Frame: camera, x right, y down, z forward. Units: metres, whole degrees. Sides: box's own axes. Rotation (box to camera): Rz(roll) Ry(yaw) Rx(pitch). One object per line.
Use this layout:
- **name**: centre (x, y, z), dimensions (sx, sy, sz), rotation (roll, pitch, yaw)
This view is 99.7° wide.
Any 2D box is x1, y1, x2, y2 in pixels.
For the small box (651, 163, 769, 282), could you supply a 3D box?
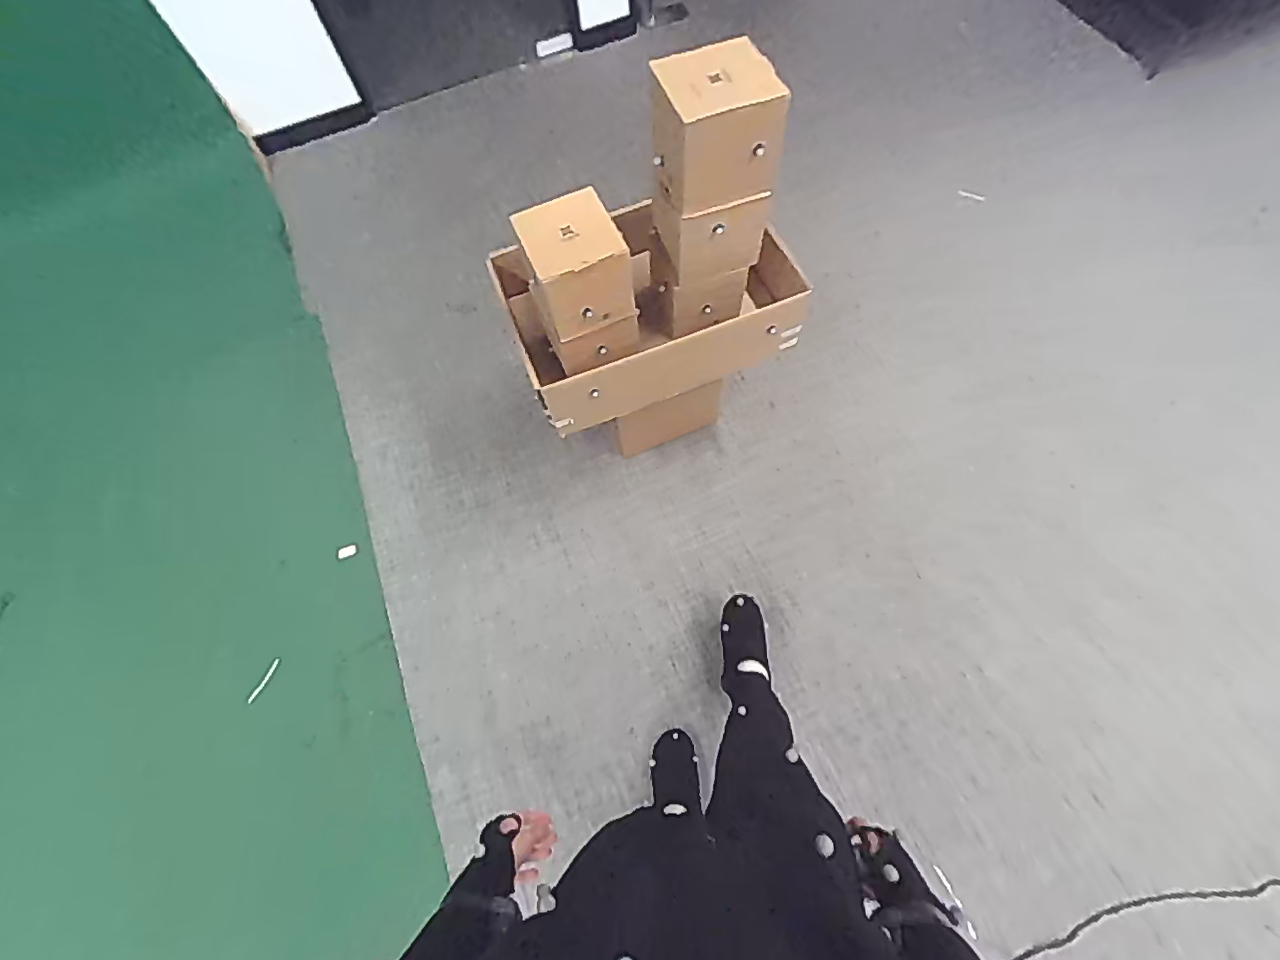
- **small box**: centre (0.132, -0.522, 1.068), dimensions (0.179, 0.176, 0.168), rotation (-18, 67, -5)

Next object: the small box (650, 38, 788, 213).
- **small box**: centre (0.125, -0.596, 0.922), dimensions (0.179, 0.176, 0.168), rotation (-19, 66, -4)
